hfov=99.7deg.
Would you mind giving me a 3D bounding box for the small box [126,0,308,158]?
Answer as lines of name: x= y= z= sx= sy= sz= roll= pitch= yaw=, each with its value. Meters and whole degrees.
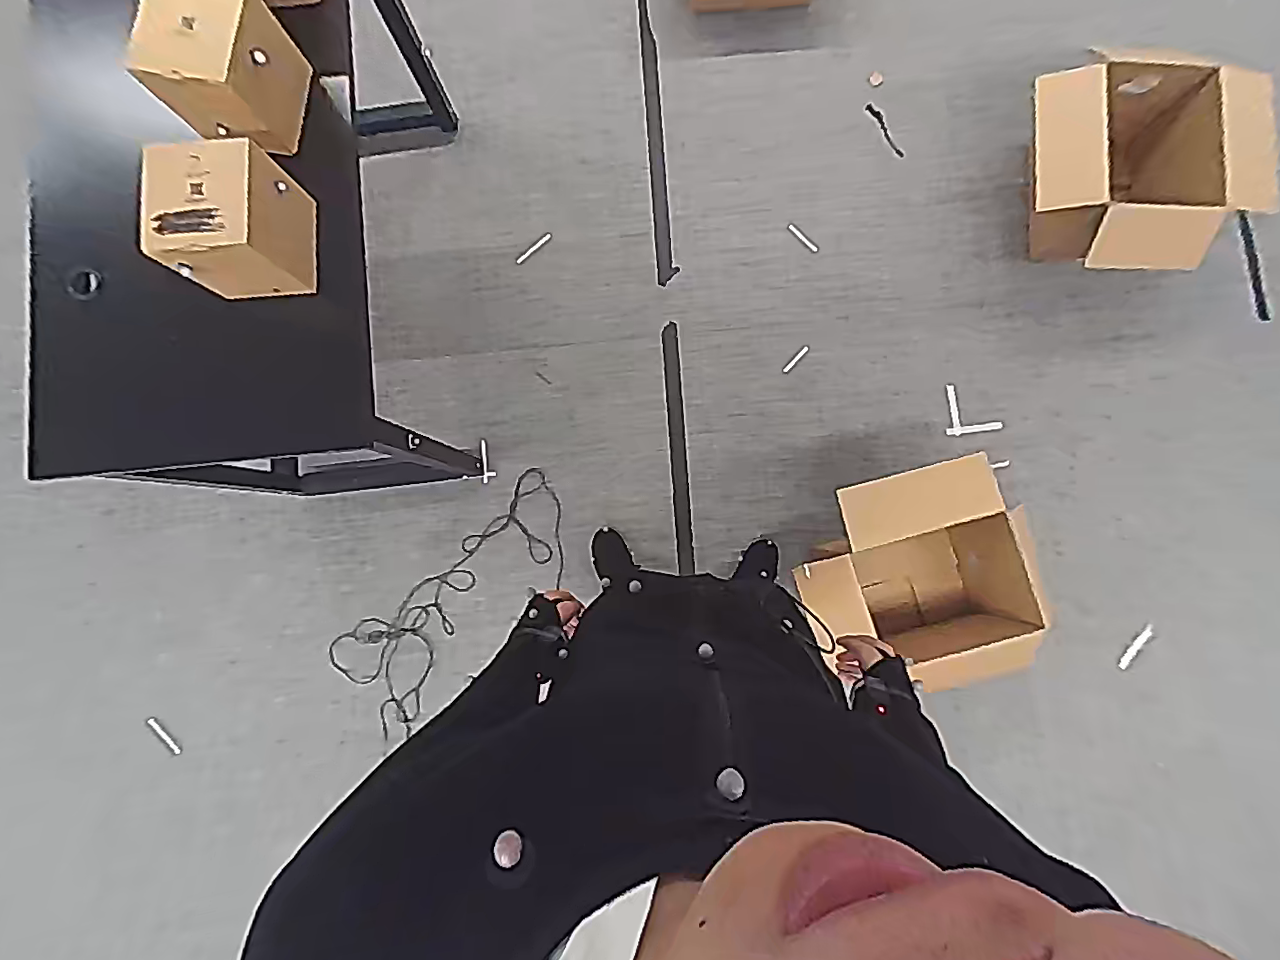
small box: x=-0.702 y=-0.692 z=0.920 sx=0.168 sy=0.176 sz=0.179 roll=8 pitch=86 yaw=3
